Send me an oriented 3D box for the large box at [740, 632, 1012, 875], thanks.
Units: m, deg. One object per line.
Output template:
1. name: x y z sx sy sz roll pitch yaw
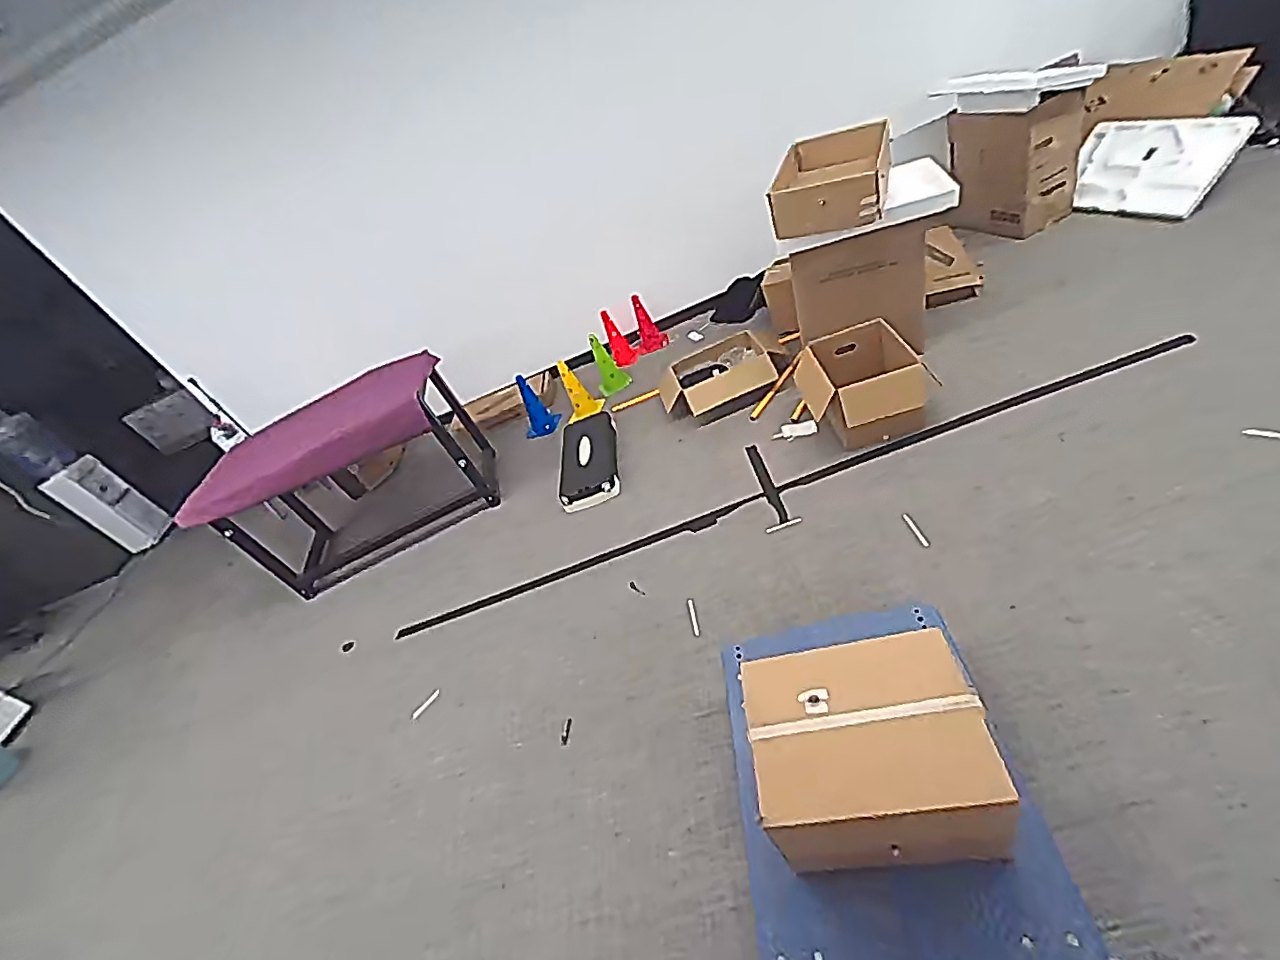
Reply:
1. large box: 0.455 0.560 1.092 0.408 0.320 0.320 -17 37 15
